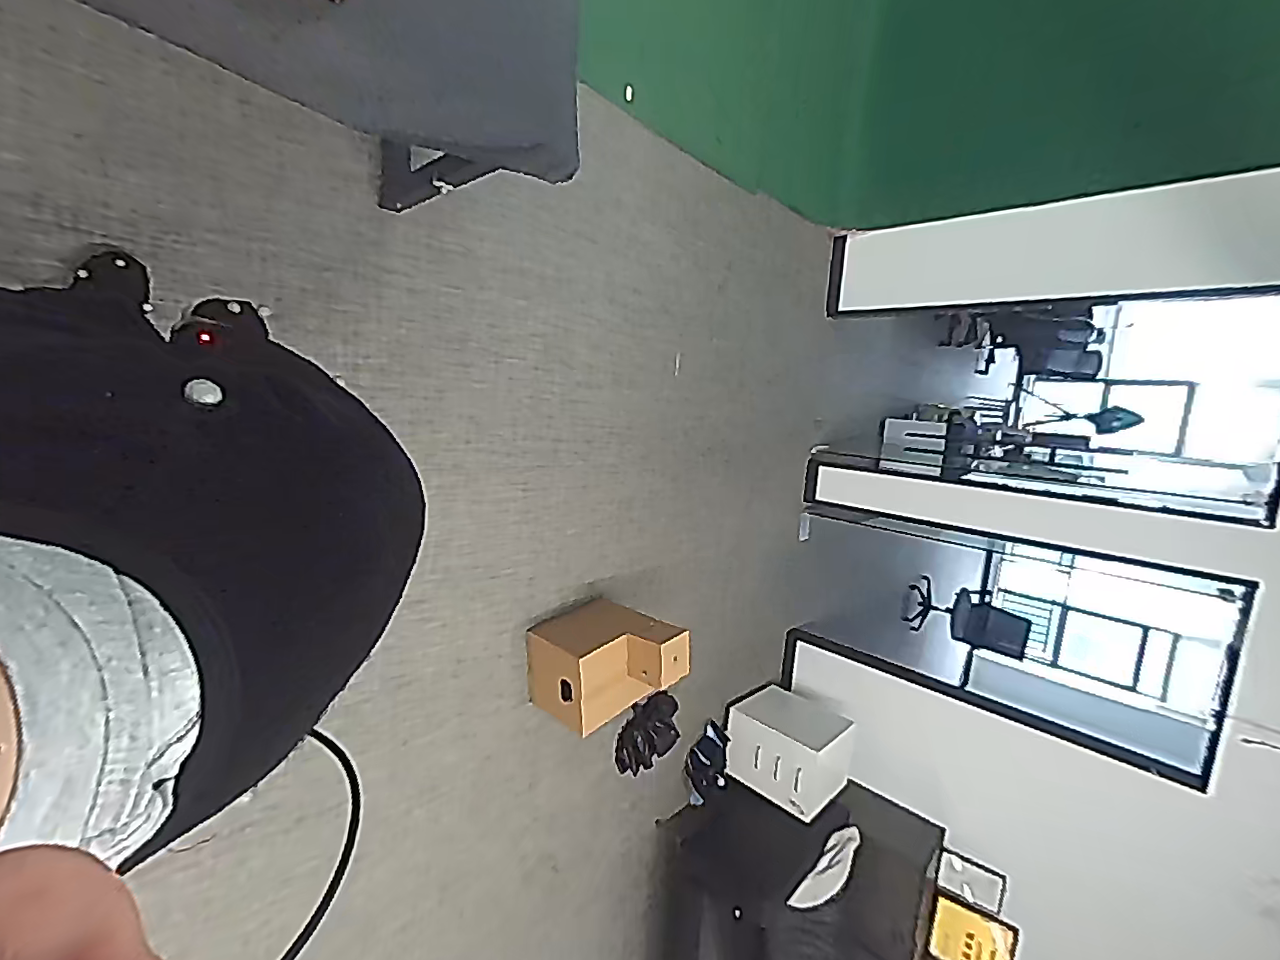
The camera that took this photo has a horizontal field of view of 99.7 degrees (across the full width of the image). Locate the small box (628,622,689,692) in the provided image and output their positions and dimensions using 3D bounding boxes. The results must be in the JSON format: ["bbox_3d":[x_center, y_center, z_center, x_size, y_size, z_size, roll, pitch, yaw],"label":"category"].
[{"bbox_3d":[0.068,0.655,2.021,0.168,0.176,0.179,-12,102,-47],"label":"small box"}]
